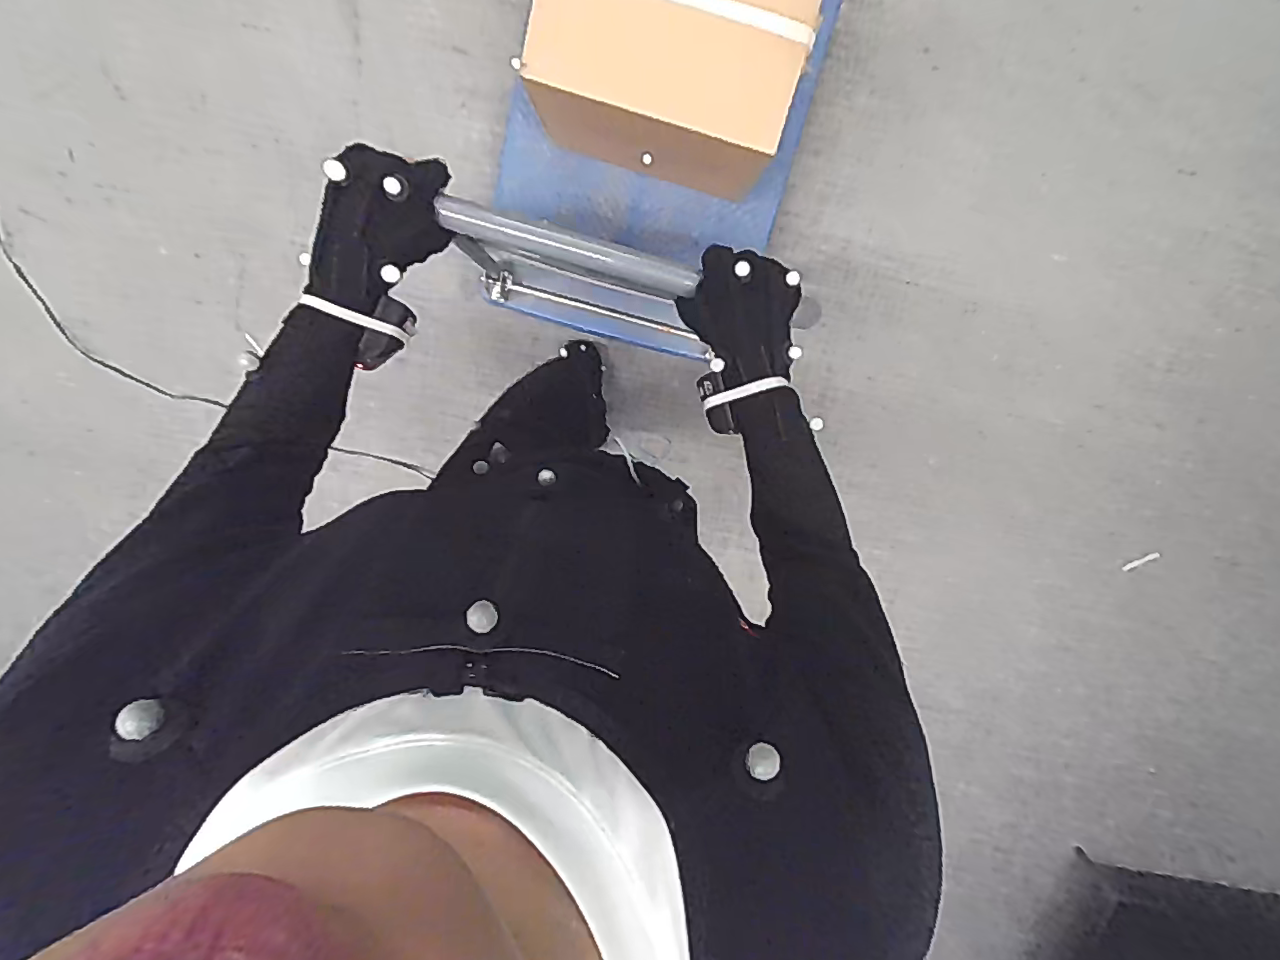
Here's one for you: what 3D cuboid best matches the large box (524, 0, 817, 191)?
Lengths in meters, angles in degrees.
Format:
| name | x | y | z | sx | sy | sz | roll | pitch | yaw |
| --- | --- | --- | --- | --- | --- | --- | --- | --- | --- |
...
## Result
| name | x | y | z | sx | sy | sz | roll | pitch | yaw |
| --- | --- | --- | --- | --- | --- | --- | --- | --- | --- |
| large box | 0.059 | -0.742 | 0.926 | 0.408 | 0.320 | 0.320 | 15 | 104 | -3 |
